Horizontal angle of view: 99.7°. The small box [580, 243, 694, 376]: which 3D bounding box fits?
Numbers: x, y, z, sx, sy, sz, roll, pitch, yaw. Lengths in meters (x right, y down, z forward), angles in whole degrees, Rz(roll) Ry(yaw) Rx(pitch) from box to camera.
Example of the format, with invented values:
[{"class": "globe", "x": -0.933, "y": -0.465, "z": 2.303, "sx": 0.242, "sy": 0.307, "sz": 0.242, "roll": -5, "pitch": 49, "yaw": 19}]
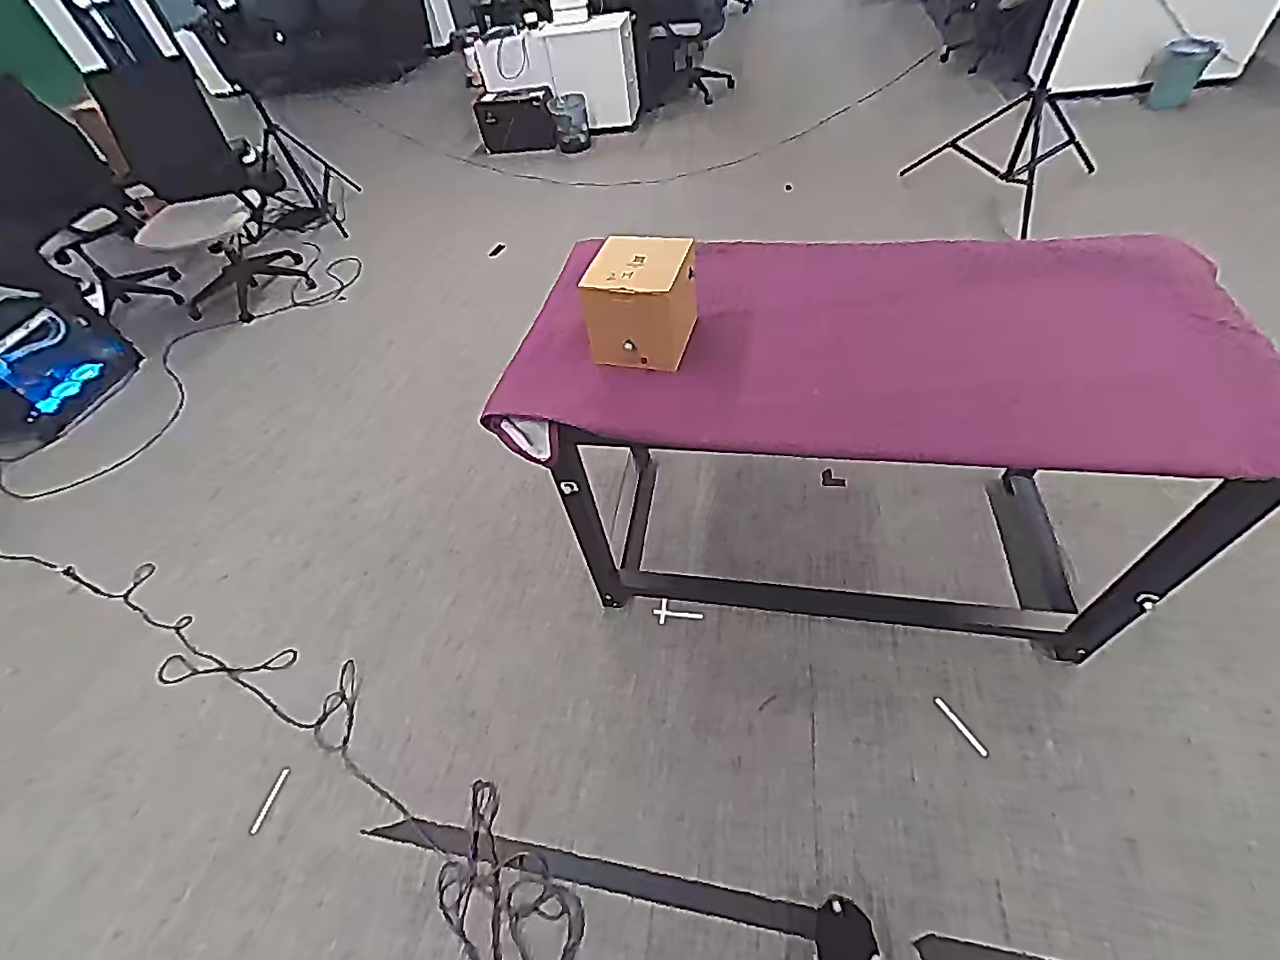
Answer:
[{"class": "small box", "x": 0.004, "y": -0.323, "z": 1.023, "sx": 0.168, "sy": 0.176, "sz": 0.179, "roll": 9, "pitch": 53, "yaw": 16}]
